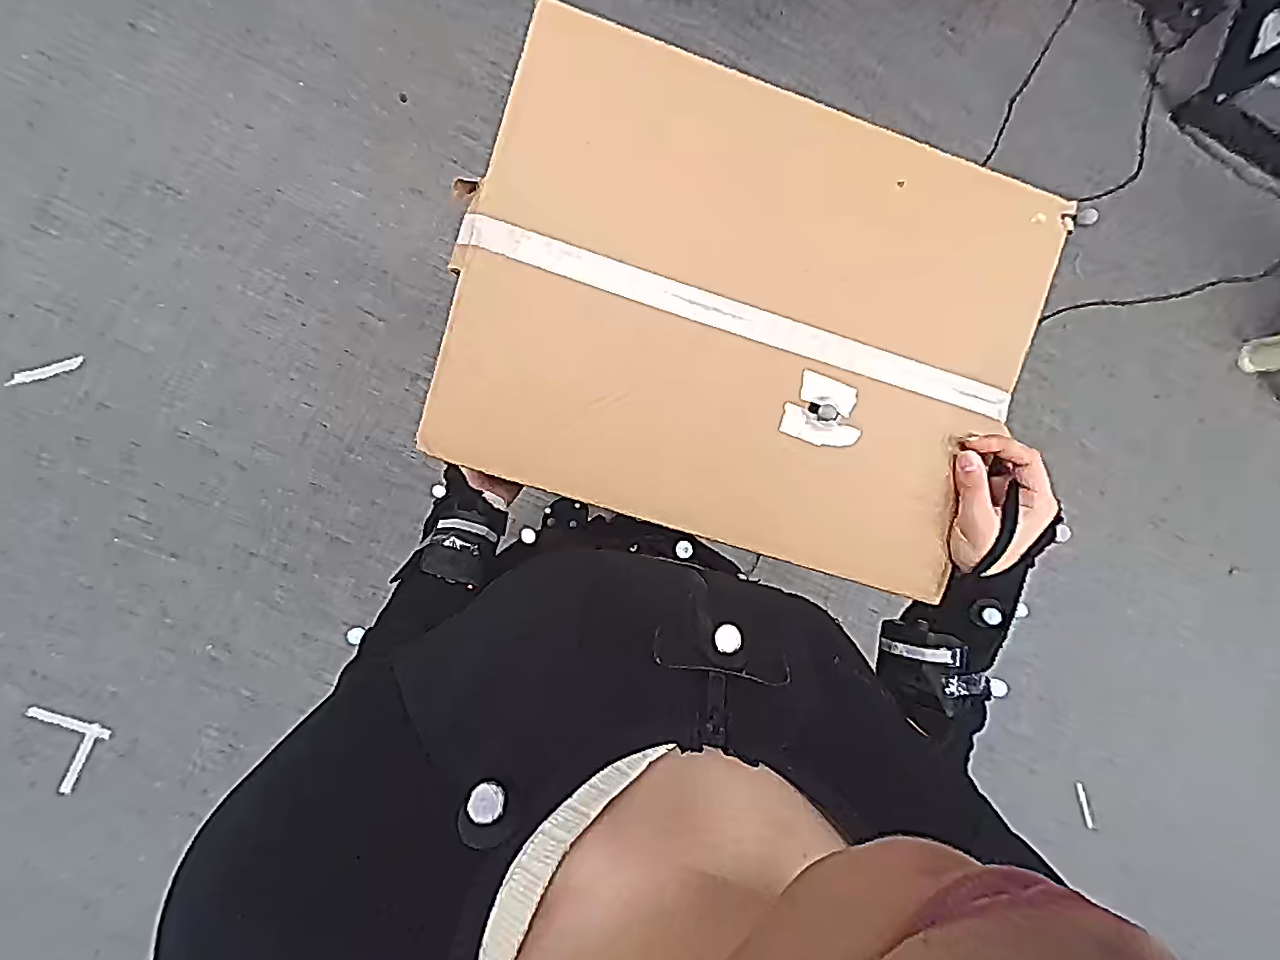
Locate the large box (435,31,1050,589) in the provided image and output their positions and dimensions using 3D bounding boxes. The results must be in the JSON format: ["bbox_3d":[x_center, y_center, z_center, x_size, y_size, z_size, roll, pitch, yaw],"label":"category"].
[{"bbox_3d":[0.066,-0.121,0.541,0.408,0.320,0.320,16,94,-7],"label":"large box"}]
